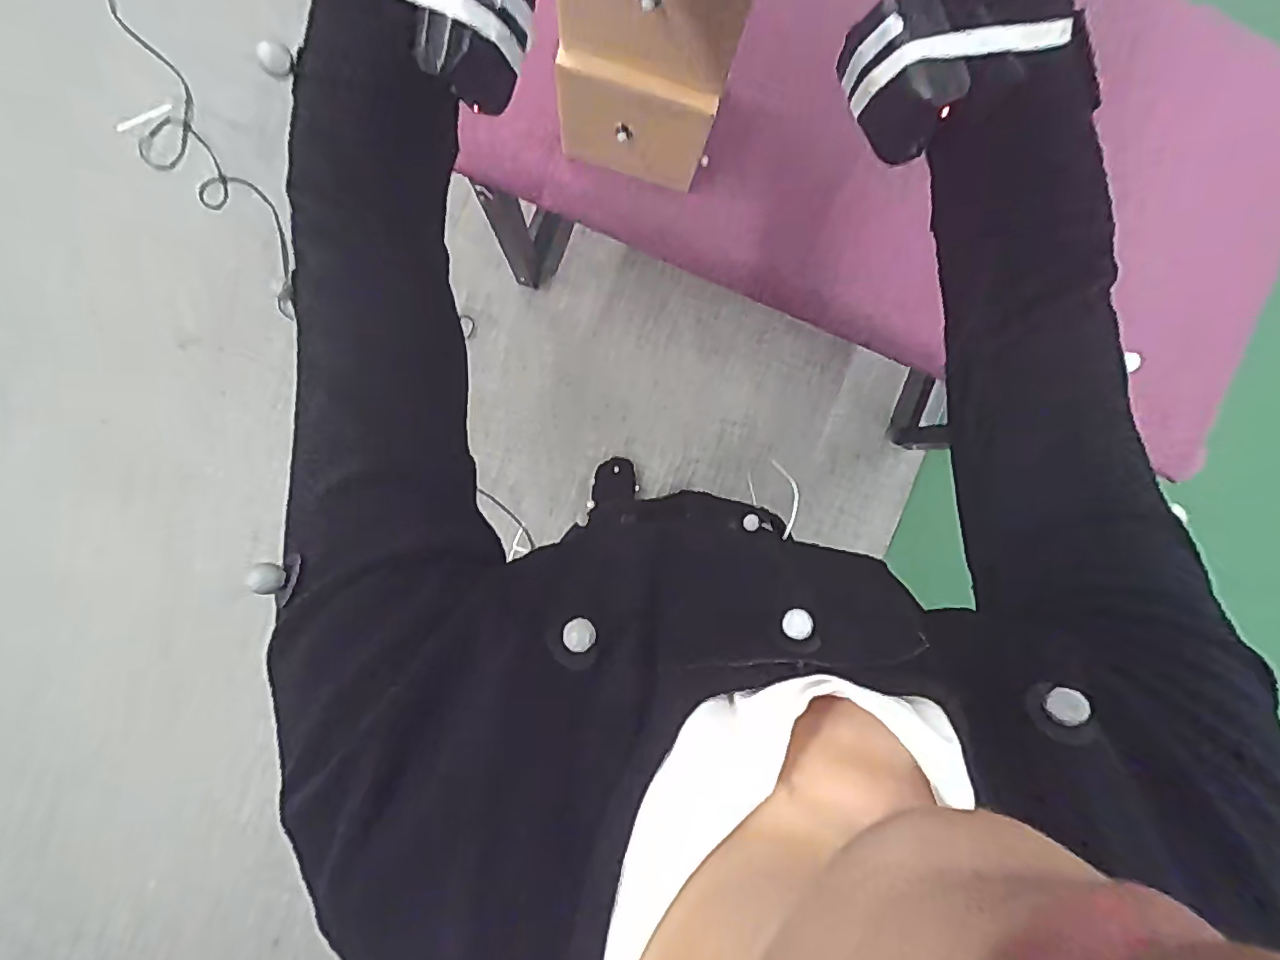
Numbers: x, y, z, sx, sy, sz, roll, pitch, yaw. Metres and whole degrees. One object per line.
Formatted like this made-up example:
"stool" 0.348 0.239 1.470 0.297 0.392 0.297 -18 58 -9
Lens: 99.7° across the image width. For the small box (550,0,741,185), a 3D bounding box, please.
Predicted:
"small box" 0.002 -0.488 0.647 0.179 0.176 0.168 15 90 -6
